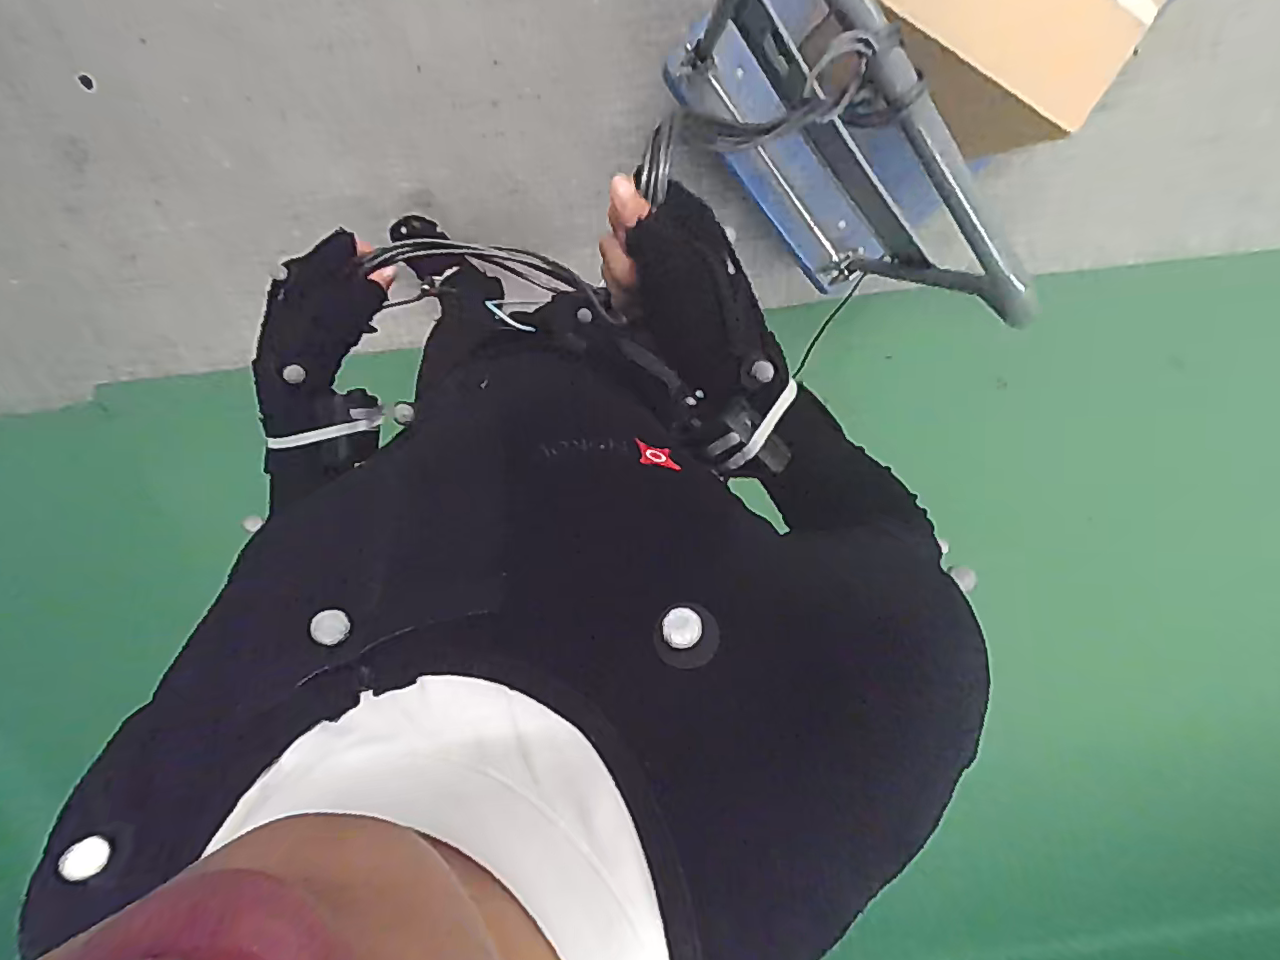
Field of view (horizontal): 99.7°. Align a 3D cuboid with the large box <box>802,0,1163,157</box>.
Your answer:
[{"bbox_3d":[0.551,-0.793,0.880,0.408,0.320,0.320,23,110,-11],"label":"large box"}]
